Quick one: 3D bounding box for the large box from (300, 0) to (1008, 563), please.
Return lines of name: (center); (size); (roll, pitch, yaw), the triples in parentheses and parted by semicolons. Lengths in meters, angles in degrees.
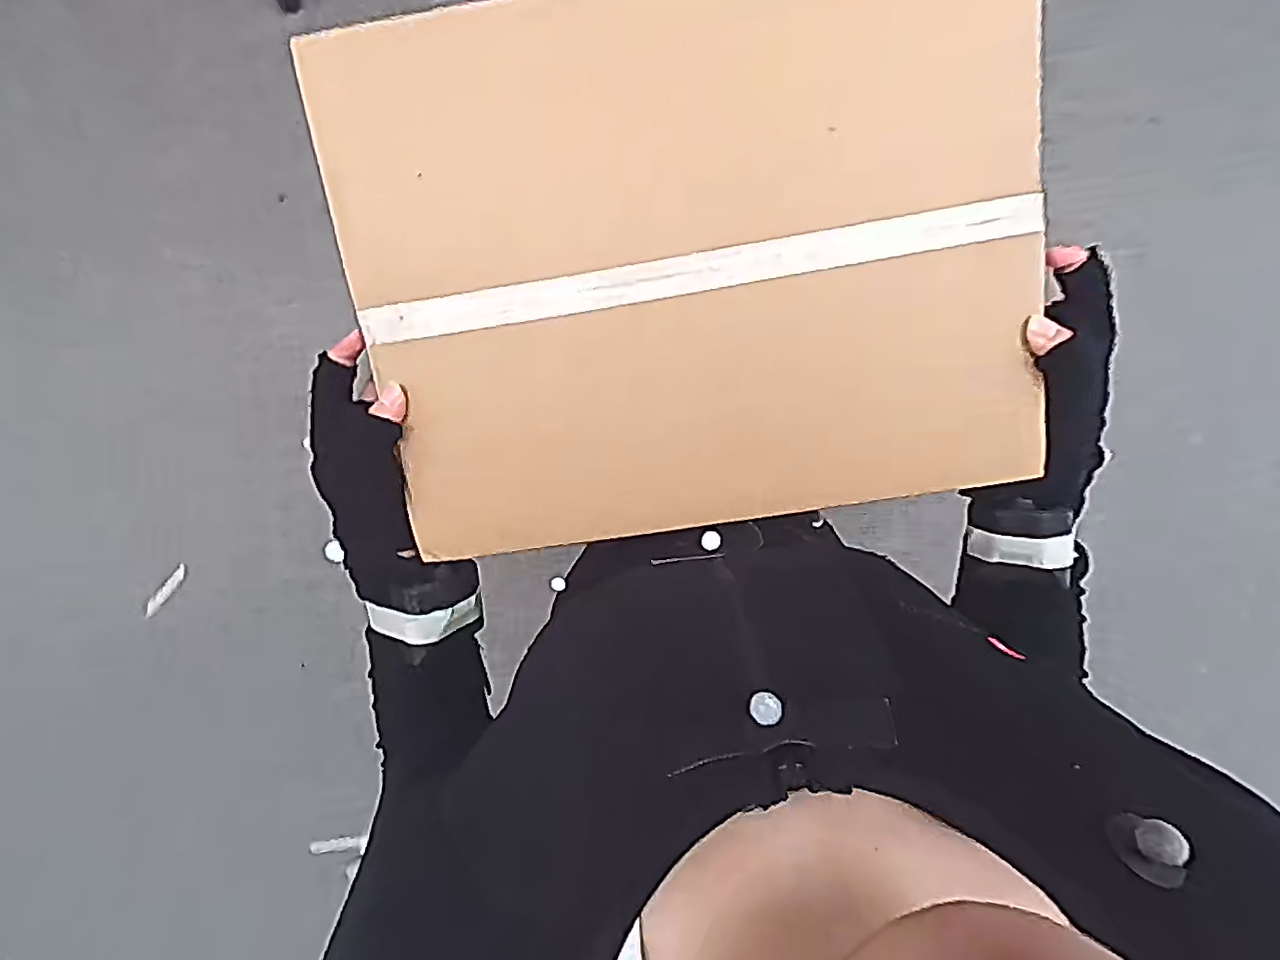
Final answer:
large box: (0.026, -0.155, 0.478); (0.408, 0.320, 0.320); (-9, 102, 3)
